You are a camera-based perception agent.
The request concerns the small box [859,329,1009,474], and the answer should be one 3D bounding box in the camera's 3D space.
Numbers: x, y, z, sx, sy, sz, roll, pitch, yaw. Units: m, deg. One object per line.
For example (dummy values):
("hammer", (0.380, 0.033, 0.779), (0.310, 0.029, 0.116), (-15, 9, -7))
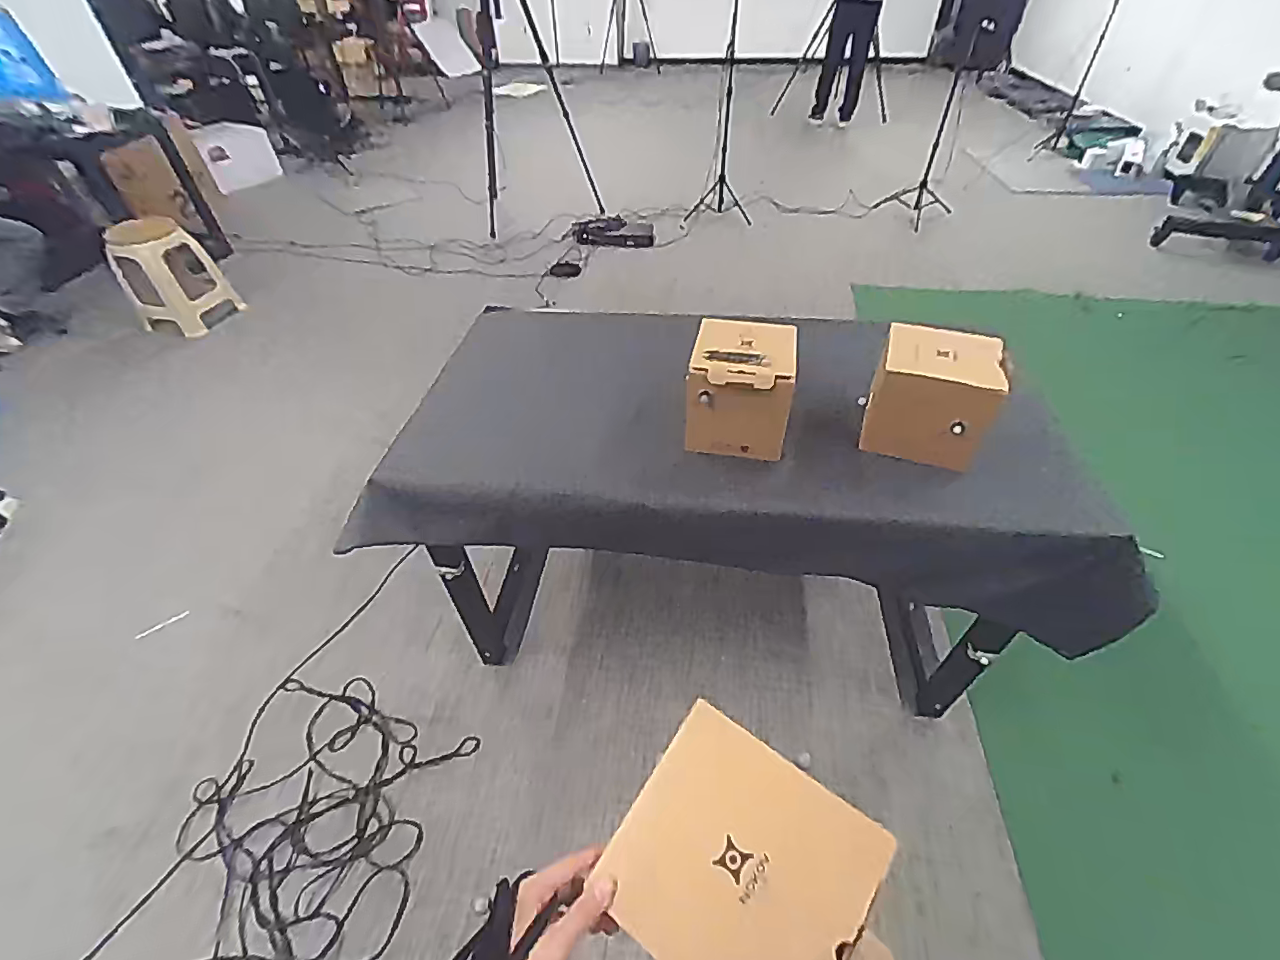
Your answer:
("small box", (0.494, -0.133, 0.926), (0.179, 0.176, 0.168), (14, 45, 16))
